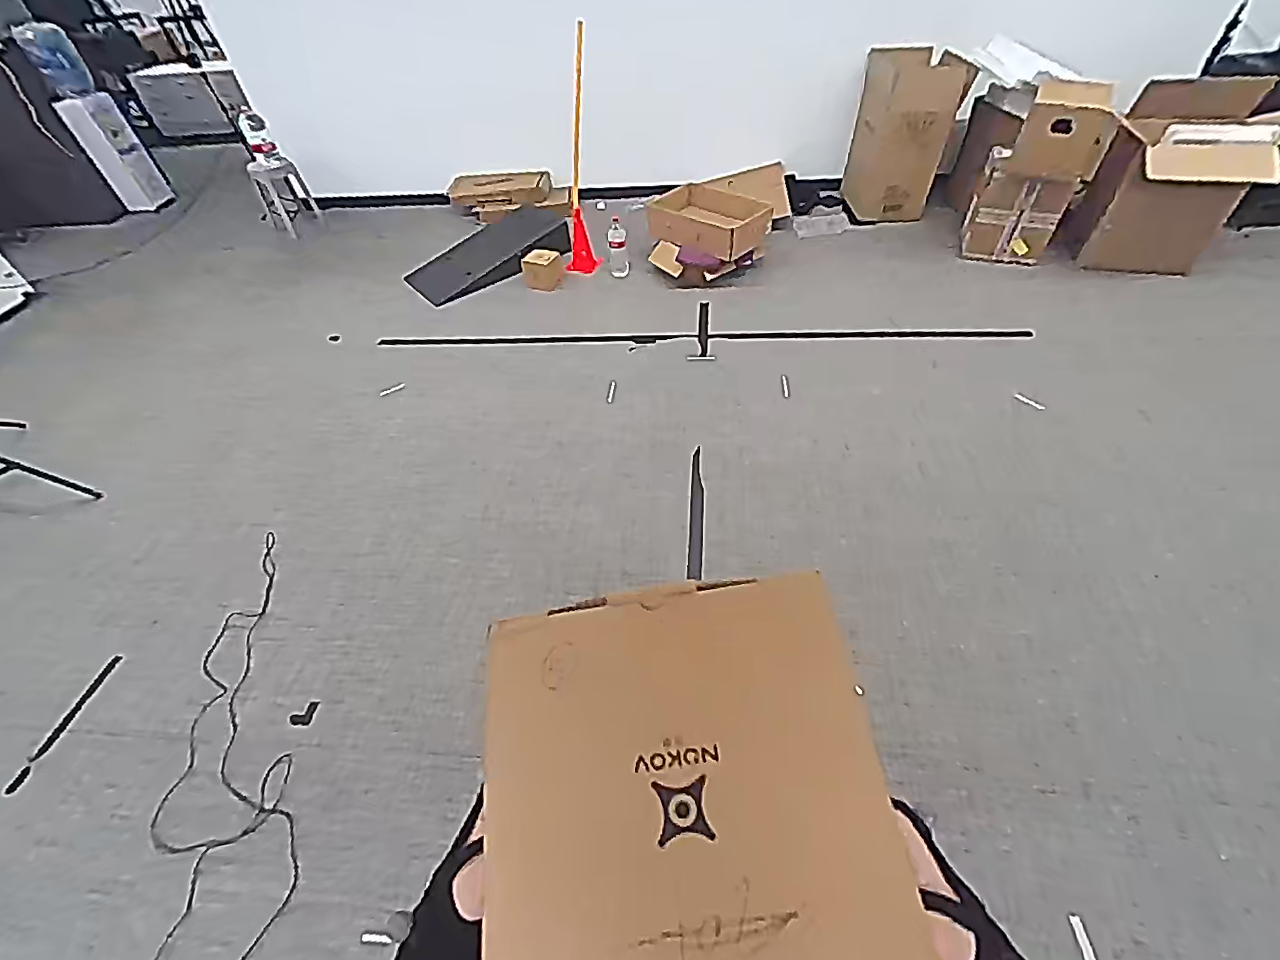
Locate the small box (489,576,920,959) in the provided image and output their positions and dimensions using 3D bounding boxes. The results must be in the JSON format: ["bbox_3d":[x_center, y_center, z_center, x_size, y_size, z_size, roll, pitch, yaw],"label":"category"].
[{"bbox_3d":[0.023,0.173,0.304,0.168,0.176,0.179,-9,61,2],"label":"small box"}]
